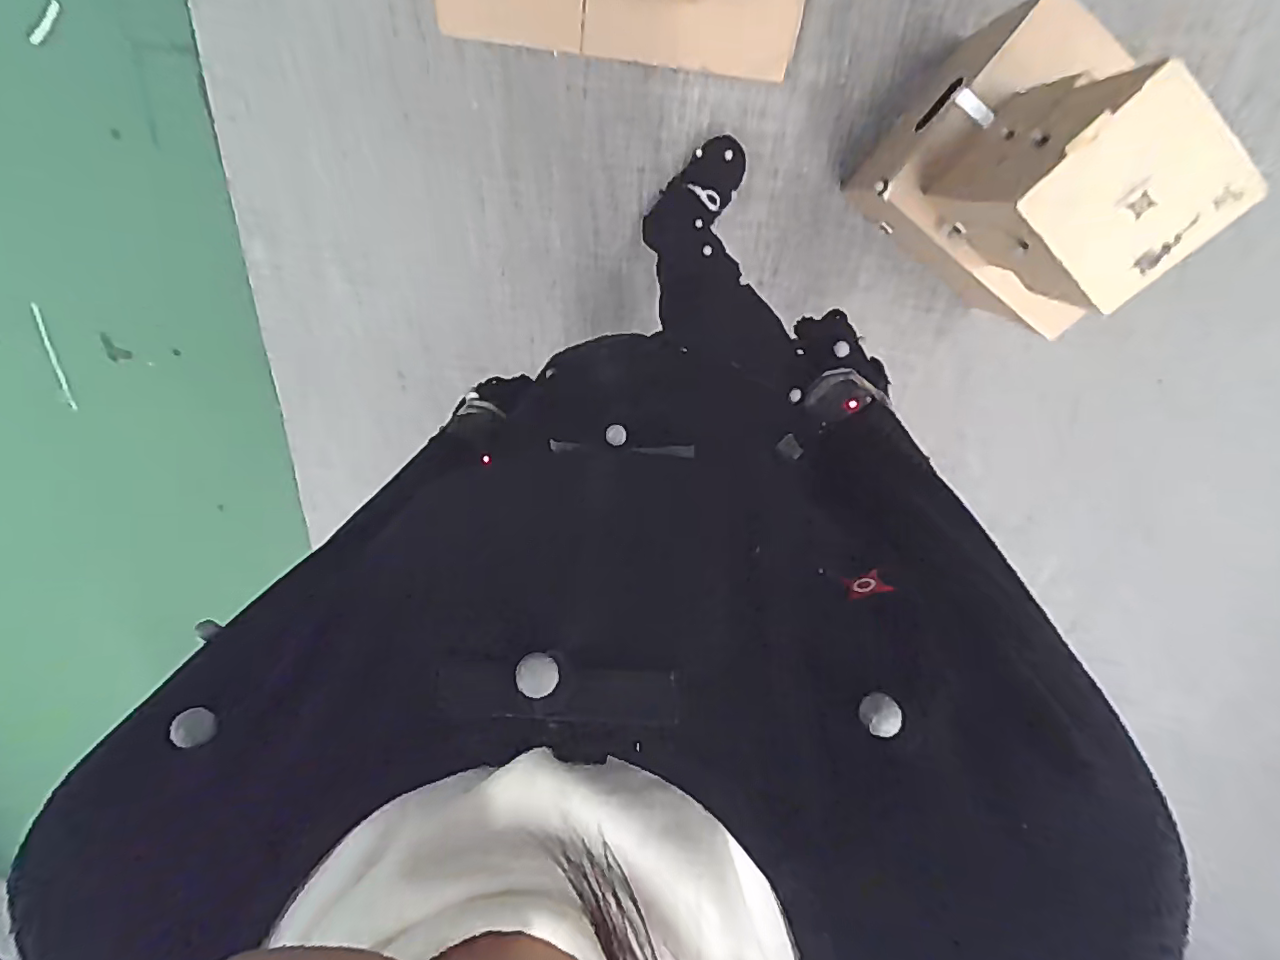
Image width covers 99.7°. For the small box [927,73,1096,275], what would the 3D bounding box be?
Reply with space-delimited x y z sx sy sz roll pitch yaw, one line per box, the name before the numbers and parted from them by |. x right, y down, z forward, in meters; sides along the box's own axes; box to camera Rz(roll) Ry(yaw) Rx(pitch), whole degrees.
small box | 0.546 -0.416 0.759 0.168 0.176 0.179 37 118 -10

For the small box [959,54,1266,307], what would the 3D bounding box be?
small box | 0.517 -0.329 0.625 0.179 0.176 0.168 37 115 -11
